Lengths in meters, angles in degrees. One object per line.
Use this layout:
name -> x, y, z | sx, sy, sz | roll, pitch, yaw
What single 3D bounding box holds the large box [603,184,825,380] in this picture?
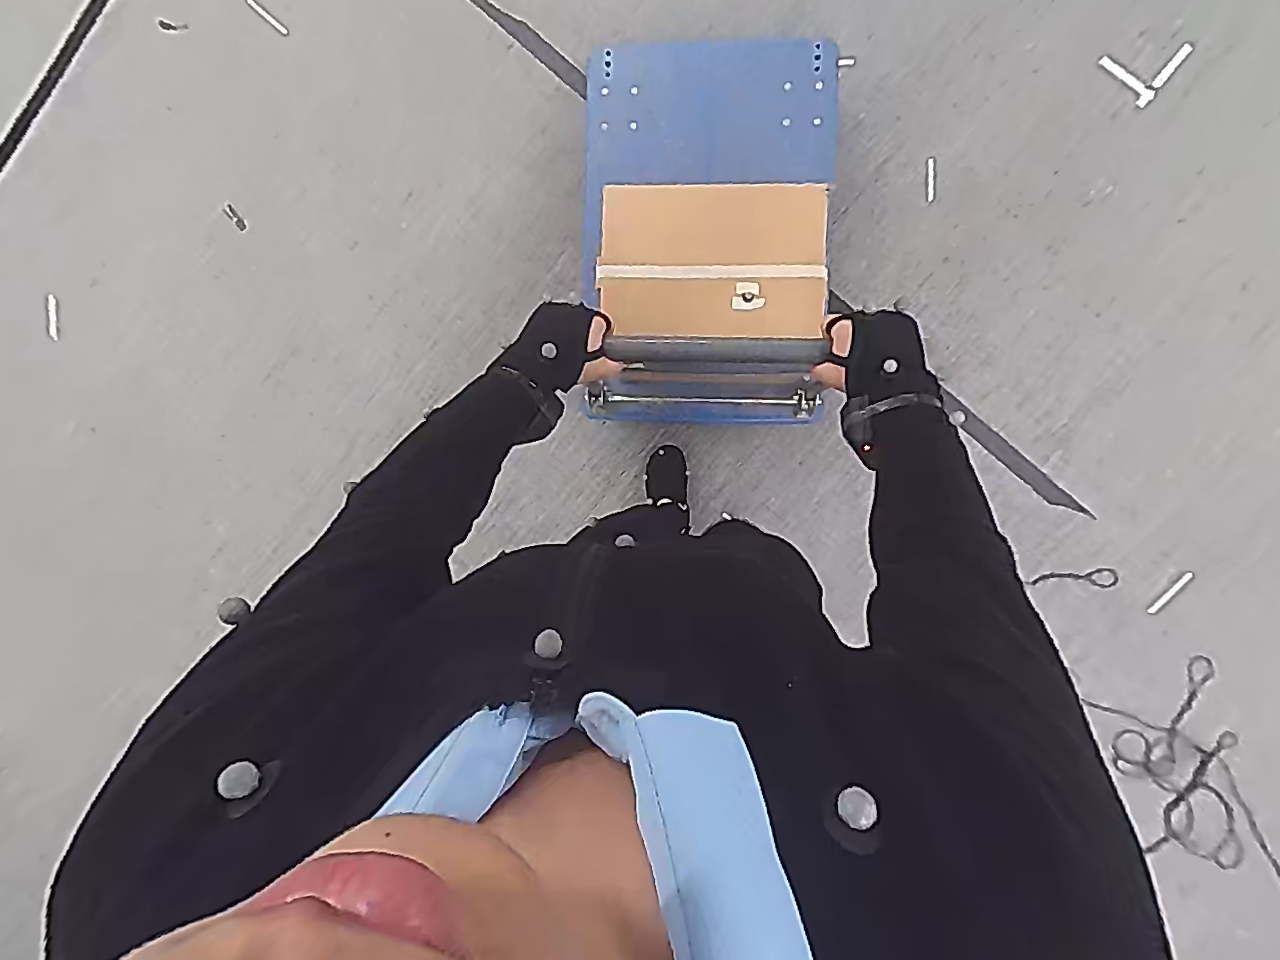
large box -> 0.137, -0.386, 1.131 | 0.408, 0.320, 0.320 | 2, 93, 3
